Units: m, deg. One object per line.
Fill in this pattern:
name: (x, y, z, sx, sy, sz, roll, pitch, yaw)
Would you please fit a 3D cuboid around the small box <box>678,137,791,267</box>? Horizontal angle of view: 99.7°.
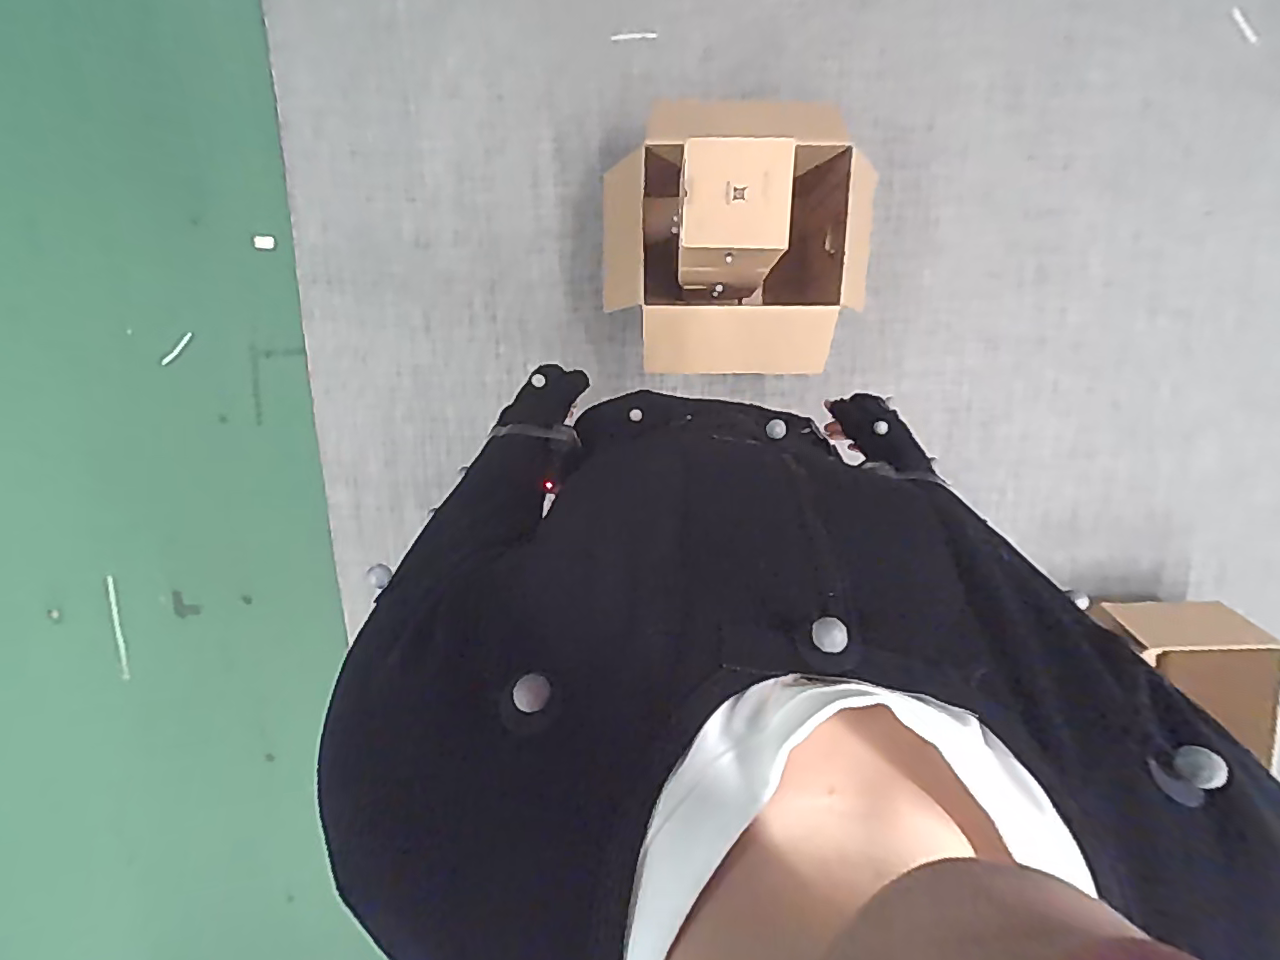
small box: (0.156, -0.476, 0.949, 0.179, 0.176, 0.168, 1, 101, 2)
